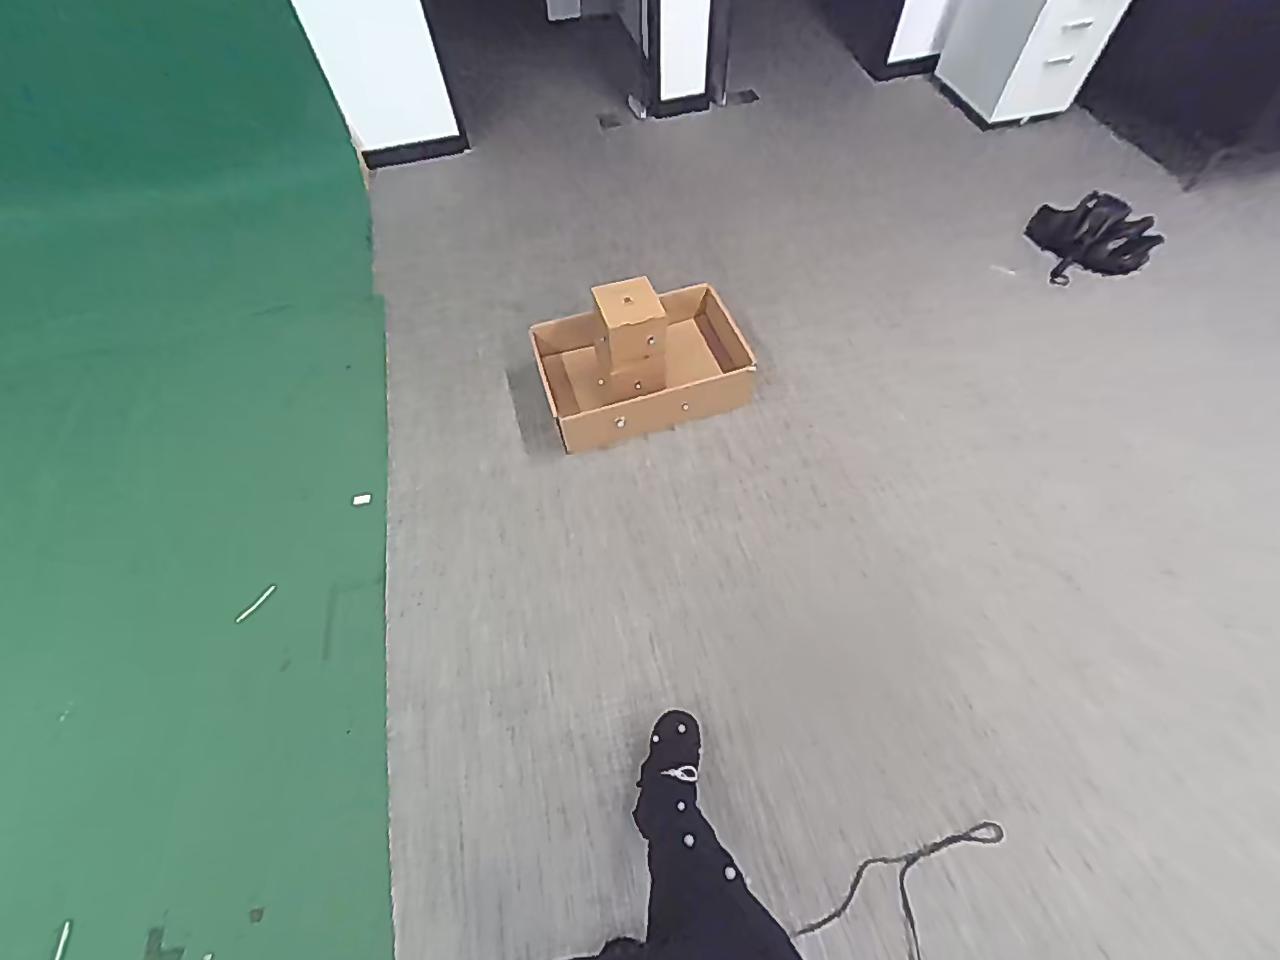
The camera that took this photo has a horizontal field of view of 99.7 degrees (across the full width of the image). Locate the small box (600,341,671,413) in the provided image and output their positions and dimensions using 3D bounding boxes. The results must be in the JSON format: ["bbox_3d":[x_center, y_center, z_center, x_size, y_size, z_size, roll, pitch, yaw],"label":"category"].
[{"bbox_3d":[-0.014,-0.337,1.677,0.179,0.176,0.168,-18,58,-8],"label":"small box"}]

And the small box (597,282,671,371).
[{"bbox_3d":[-0.017,-0.431,1.546,0.168,0.176,0.179,-15,57,-10],"label":"small box"}]
